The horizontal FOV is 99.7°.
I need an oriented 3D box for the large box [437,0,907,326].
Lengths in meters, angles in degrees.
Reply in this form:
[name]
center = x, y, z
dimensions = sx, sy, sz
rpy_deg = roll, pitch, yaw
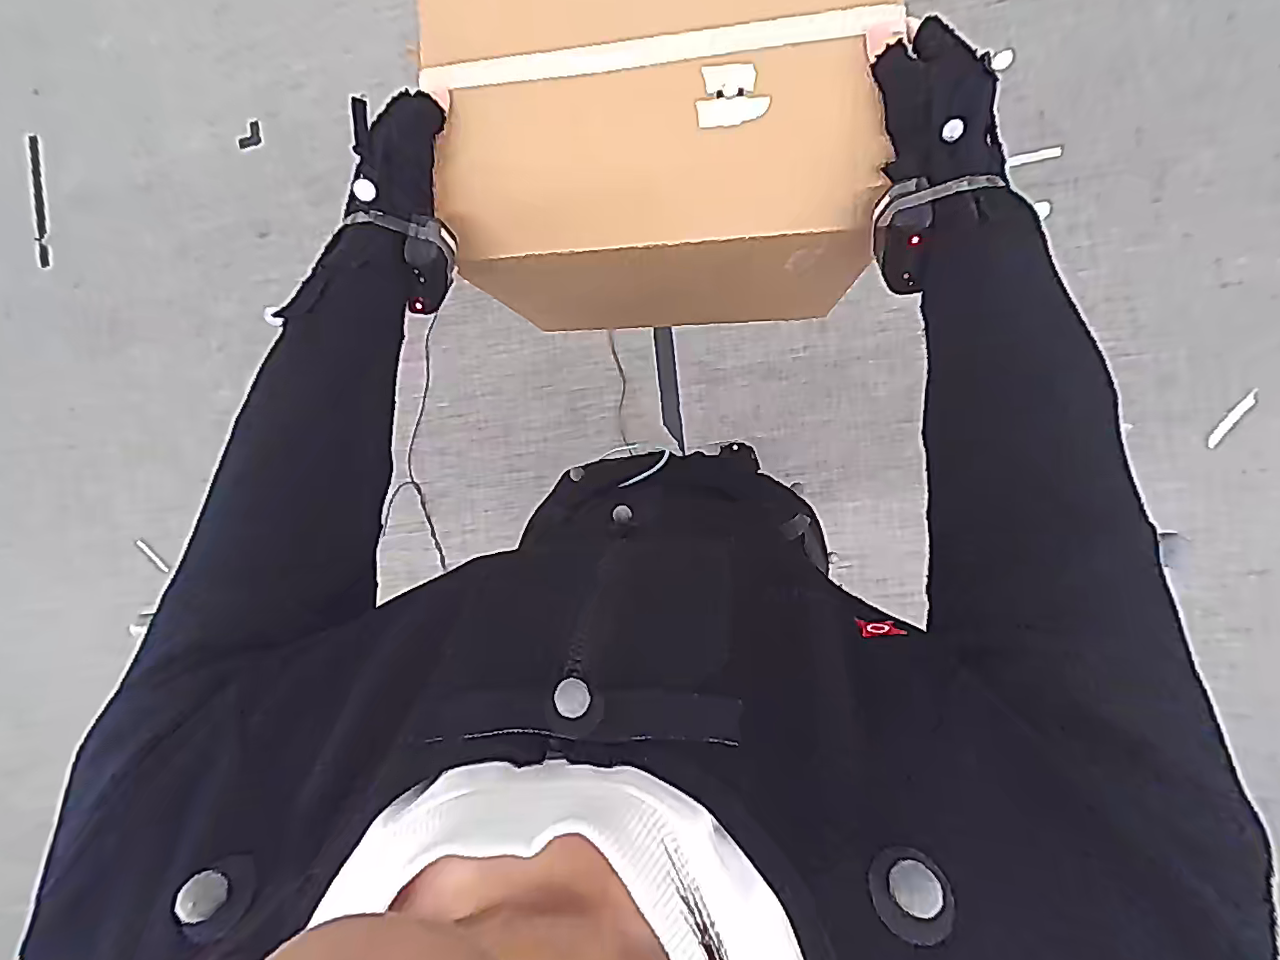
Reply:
[large box]
center = 0.034, -0.374, 0.610
dimensions = 0.408, 0.320, 0.320
rpy_deg = -1, 94, 7
